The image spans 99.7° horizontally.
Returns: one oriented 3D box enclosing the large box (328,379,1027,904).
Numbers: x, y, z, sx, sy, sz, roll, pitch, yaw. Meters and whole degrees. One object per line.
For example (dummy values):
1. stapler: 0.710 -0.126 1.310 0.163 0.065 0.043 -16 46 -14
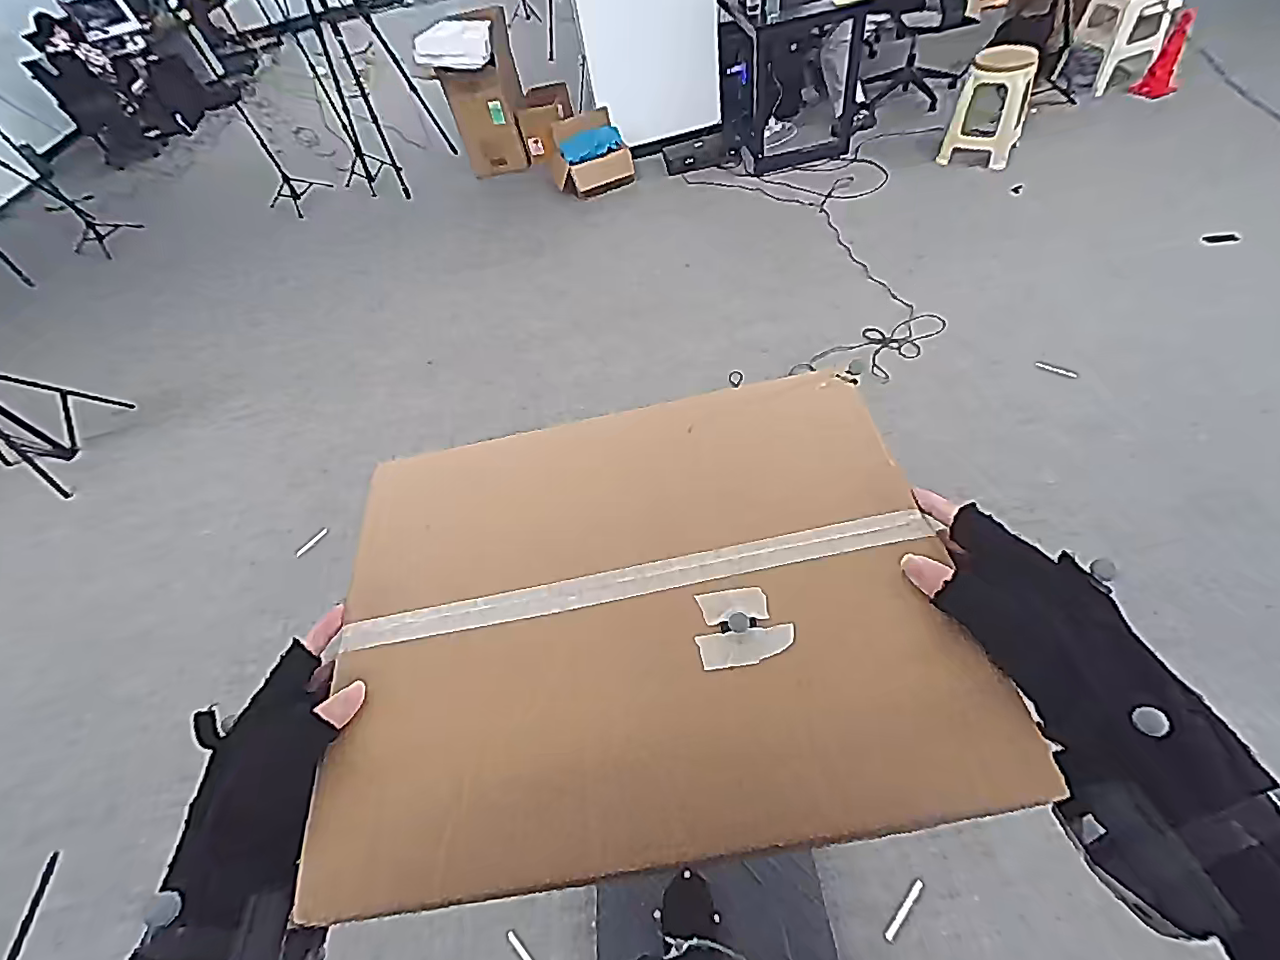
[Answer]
1. large box: 0.017 0.159 0.502 0.408 0.320 0.320 -11 55 2
